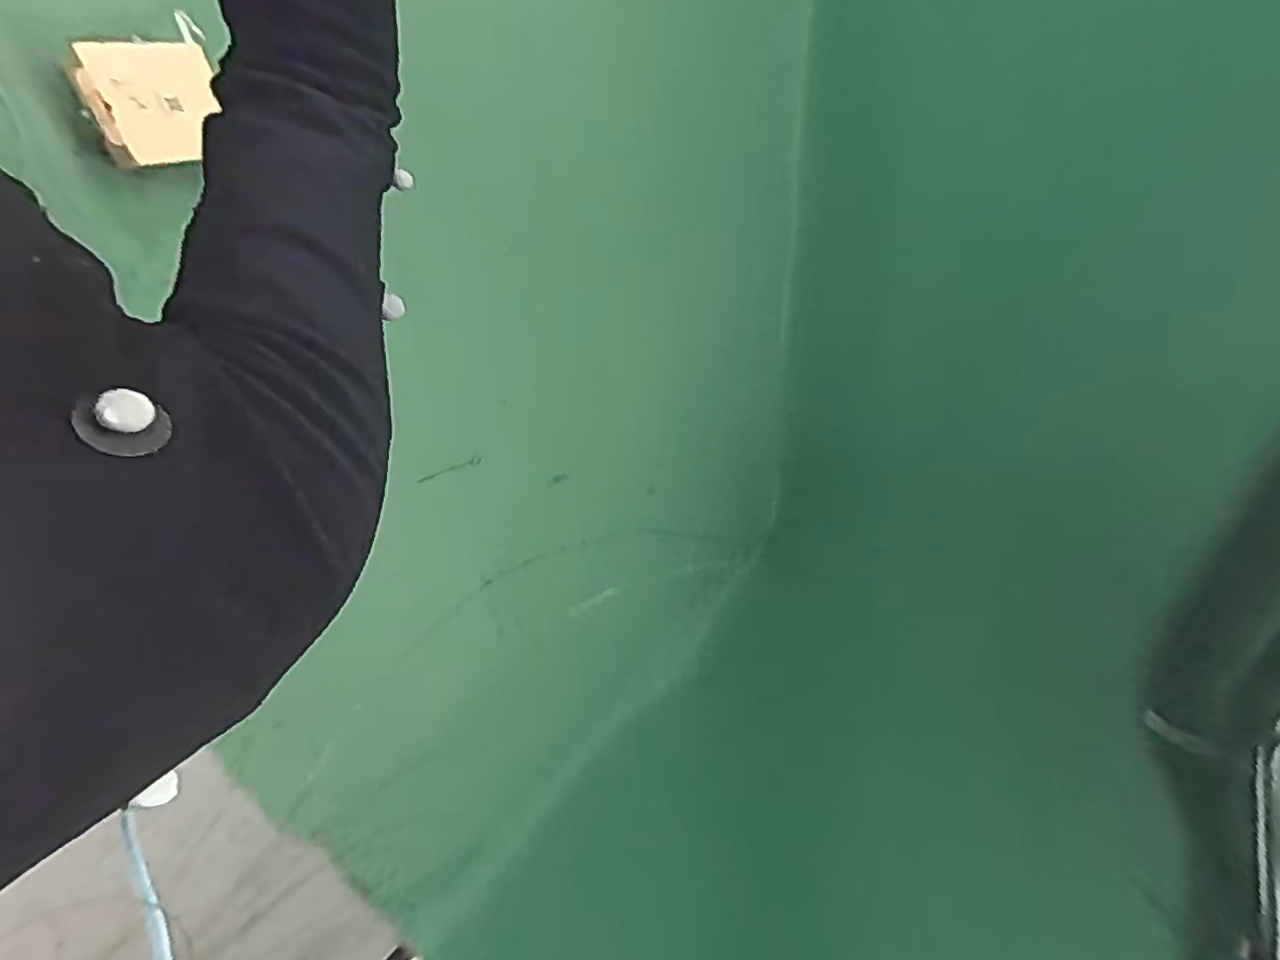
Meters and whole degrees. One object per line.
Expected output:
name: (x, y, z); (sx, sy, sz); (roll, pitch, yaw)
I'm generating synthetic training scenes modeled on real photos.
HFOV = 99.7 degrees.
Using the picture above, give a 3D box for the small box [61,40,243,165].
small box: (-0.867, -0.668, 0.966); (0.179, 0.176, 0.168); (-36, 133, -37)
